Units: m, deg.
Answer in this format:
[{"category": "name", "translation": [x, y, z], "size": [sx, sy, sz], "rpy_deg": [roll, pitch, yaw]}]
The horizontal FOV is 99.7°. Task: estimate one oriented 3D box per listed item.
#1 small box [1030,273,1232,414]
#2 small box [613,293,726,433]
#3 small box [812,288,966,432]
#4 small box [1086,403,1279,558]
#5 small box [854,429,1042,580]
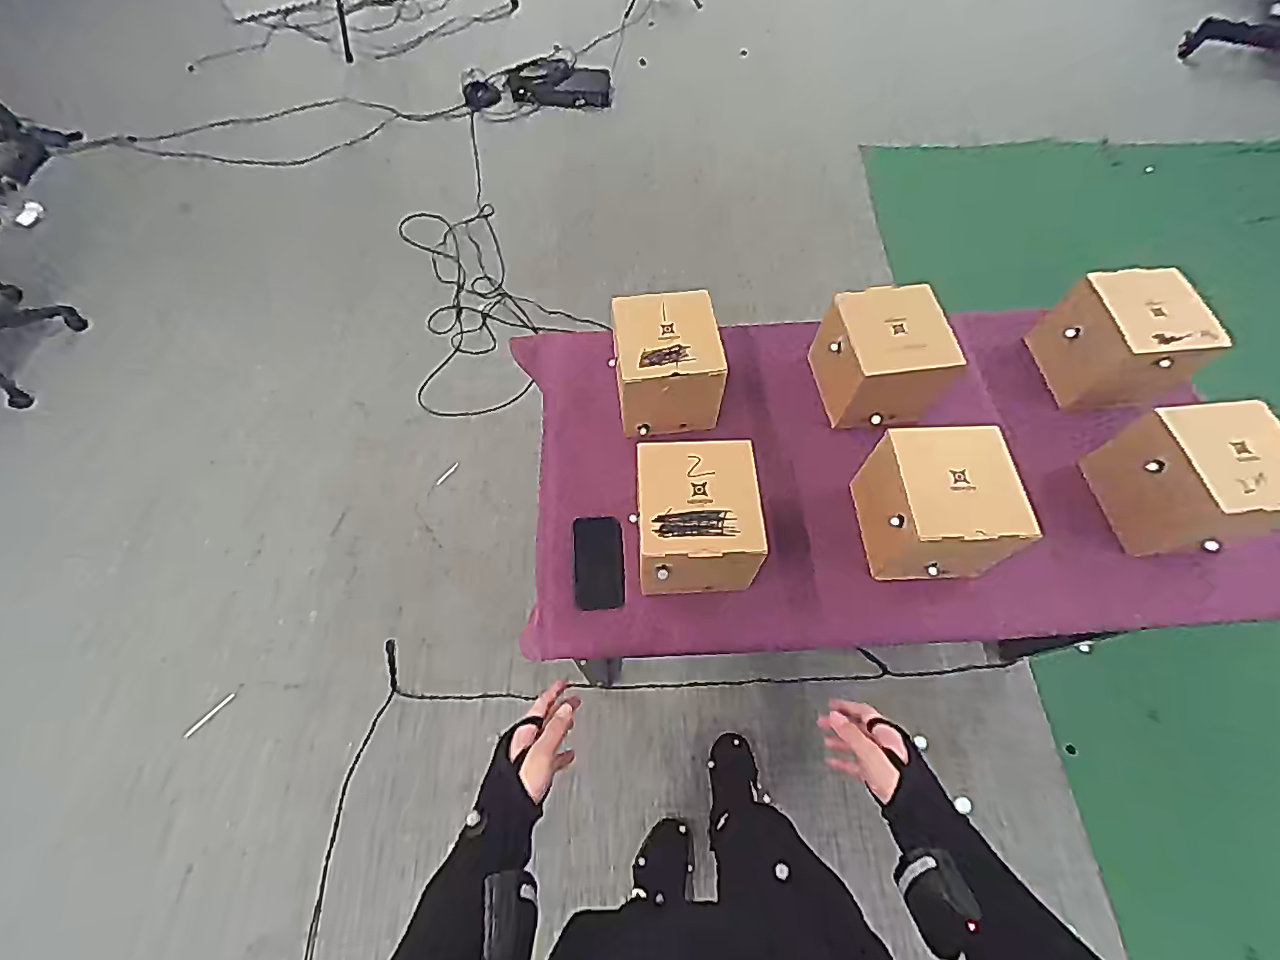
[{"category": "small box", "translation": [0.845, -0.238, 0.957], "size": [0.168, 0.176, 0.179], "rpy_deg": [-5, 62, -1]}, {"category": "small box", "translation": [0.046, -0.194, 0.937], "size": [0.168, 0.176, 0.179], "rpy_deg": [-6, 62, -3]}, {"category": "small box", "translation": [0.417, -0.205, 0.944], "size": [0.168, 0.176, 0.179], "rpy_deg": [-6, 63, -2]}, {"category": "small box", "translation": [0.847, 0.005, 0.828], "size": [0.168, 0.176, 0.179], "rpy_deg": [-4, 62, -1]}, {"category": "small box", "translation": [0.443, 0.041, 0.815], "size": [0.168, 0.176, 0.179], "rpy_deg": [-1, 62, -1]}]
